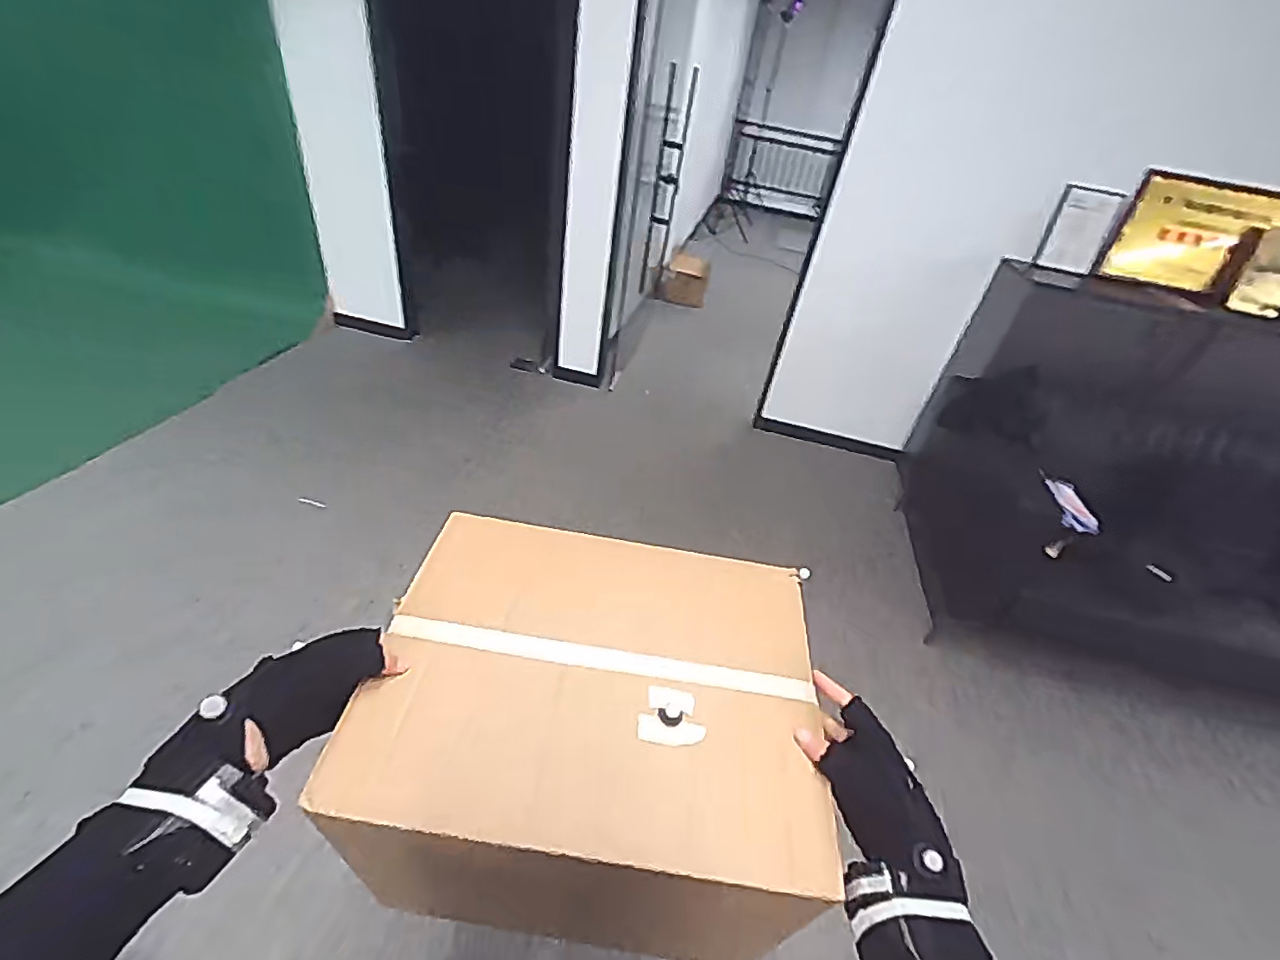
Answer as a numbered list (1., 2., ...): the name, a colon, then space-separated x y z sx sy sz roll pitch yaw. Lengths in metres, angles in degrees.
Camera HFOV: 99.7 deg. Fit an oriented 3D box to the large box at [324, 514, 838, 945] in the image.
1. large box: -0.052 0.278 0.614 0.408 0.320 0.320 10 41 -1
